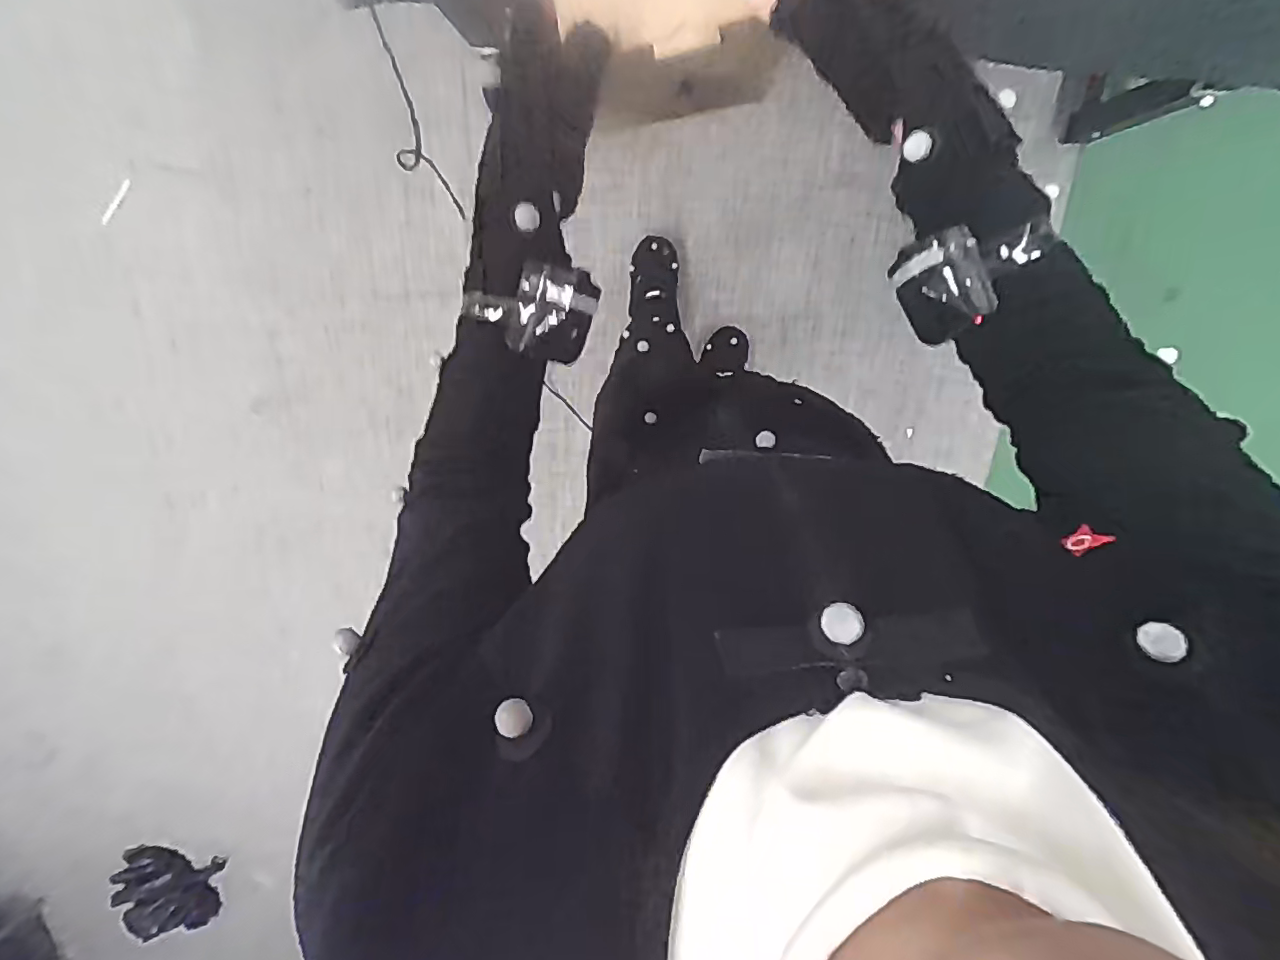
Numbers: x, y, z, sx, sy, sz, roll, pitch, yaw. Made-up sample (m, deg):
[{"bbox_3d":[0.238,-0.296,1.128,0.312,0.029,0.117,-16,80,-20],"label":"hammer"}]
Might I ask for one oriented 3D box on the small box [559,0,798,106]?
[{"bbox_3d":[0.022,-0.408,0.401,0.168,0.176,0.179,-9,108,6],"label":"small box"}]
